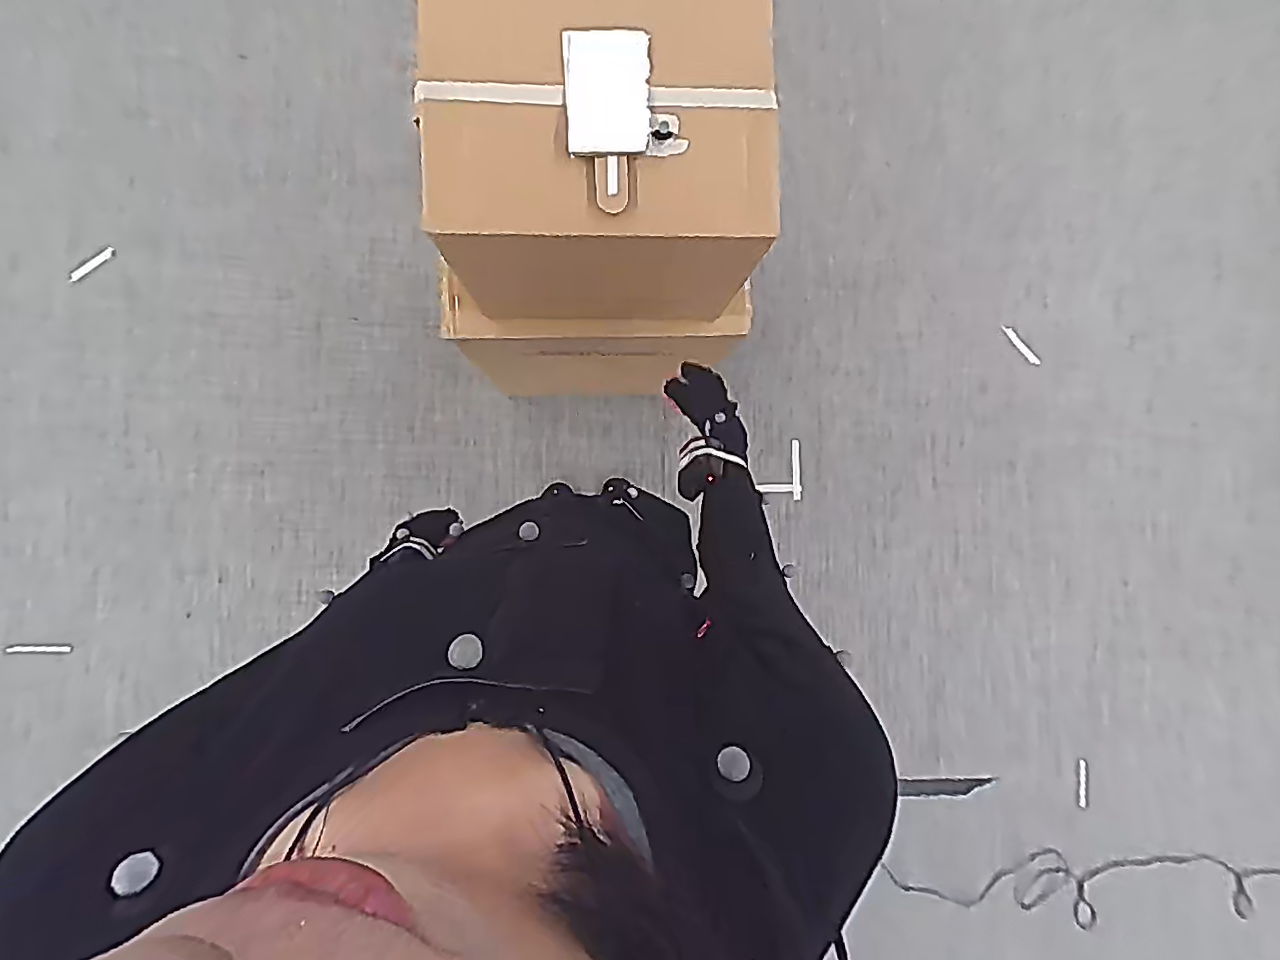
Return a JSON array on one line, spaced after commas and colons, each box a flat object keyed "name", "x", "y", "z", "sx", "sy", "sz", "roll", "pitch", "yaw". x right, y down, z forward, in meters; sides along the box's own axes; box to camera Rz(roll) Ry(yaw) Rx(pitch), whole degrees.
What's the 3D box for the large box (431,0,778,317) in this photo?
[{"name": "large box", "x": -0.052, "y": -0.437, "z": 0.781, "sx": 0.408, "sy": 0.320, "sz": 0.320, "roll": -1, "pitch": 89, "yaw": -5}]
